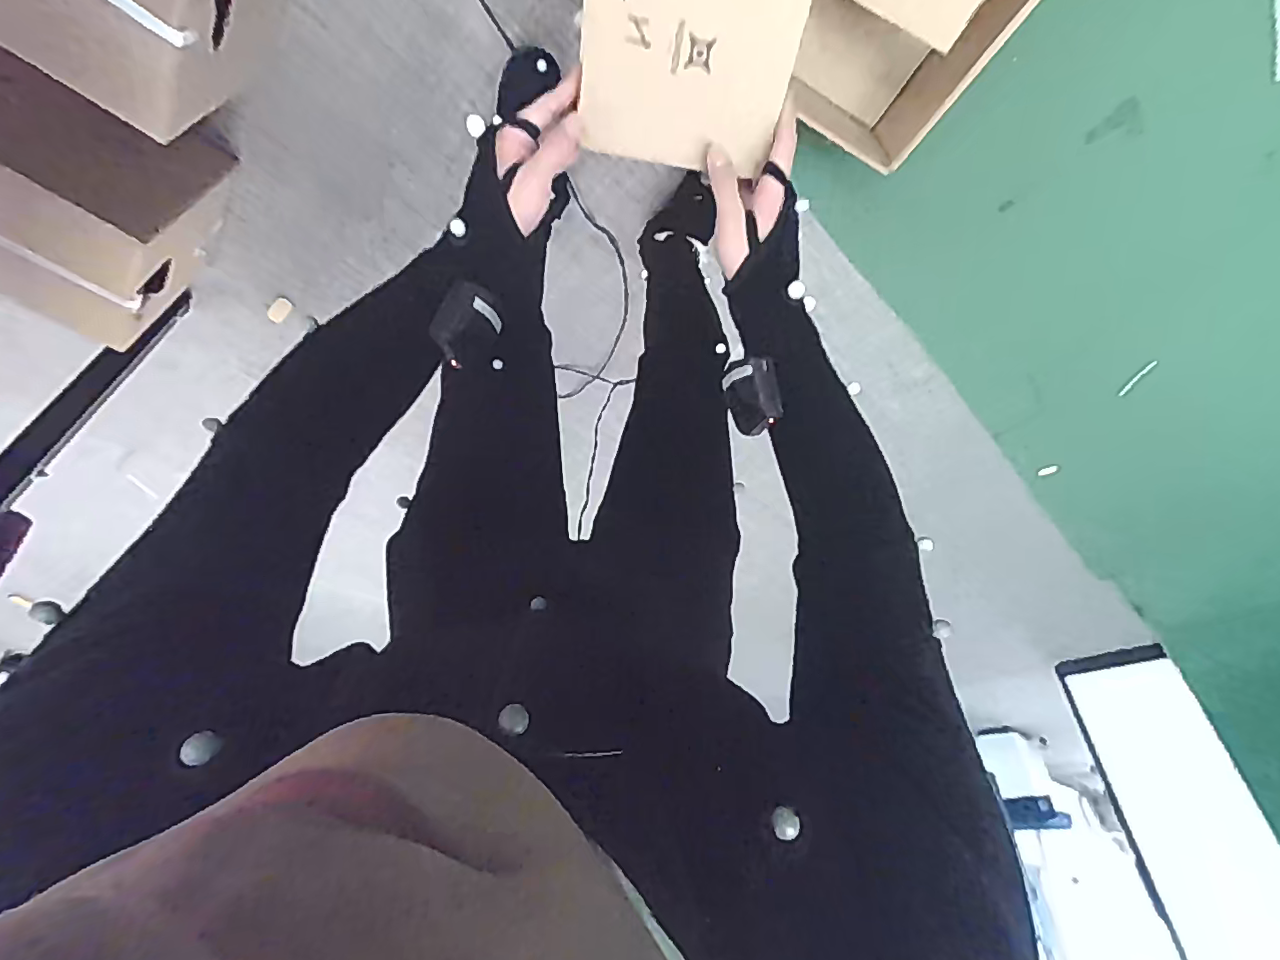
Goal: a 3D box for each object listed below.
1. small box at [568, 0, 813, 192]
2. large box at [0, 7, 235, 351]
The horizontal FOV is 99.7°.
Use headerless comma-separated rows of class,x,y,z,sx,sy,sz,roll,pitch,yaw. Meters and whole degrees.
small box,0.035,-0.383,0.489,0.179,0.176,0.168,7,130,-6
large box,-1.023,-0.513,0.936,0.408,0.320,0.320,32,133,-31
